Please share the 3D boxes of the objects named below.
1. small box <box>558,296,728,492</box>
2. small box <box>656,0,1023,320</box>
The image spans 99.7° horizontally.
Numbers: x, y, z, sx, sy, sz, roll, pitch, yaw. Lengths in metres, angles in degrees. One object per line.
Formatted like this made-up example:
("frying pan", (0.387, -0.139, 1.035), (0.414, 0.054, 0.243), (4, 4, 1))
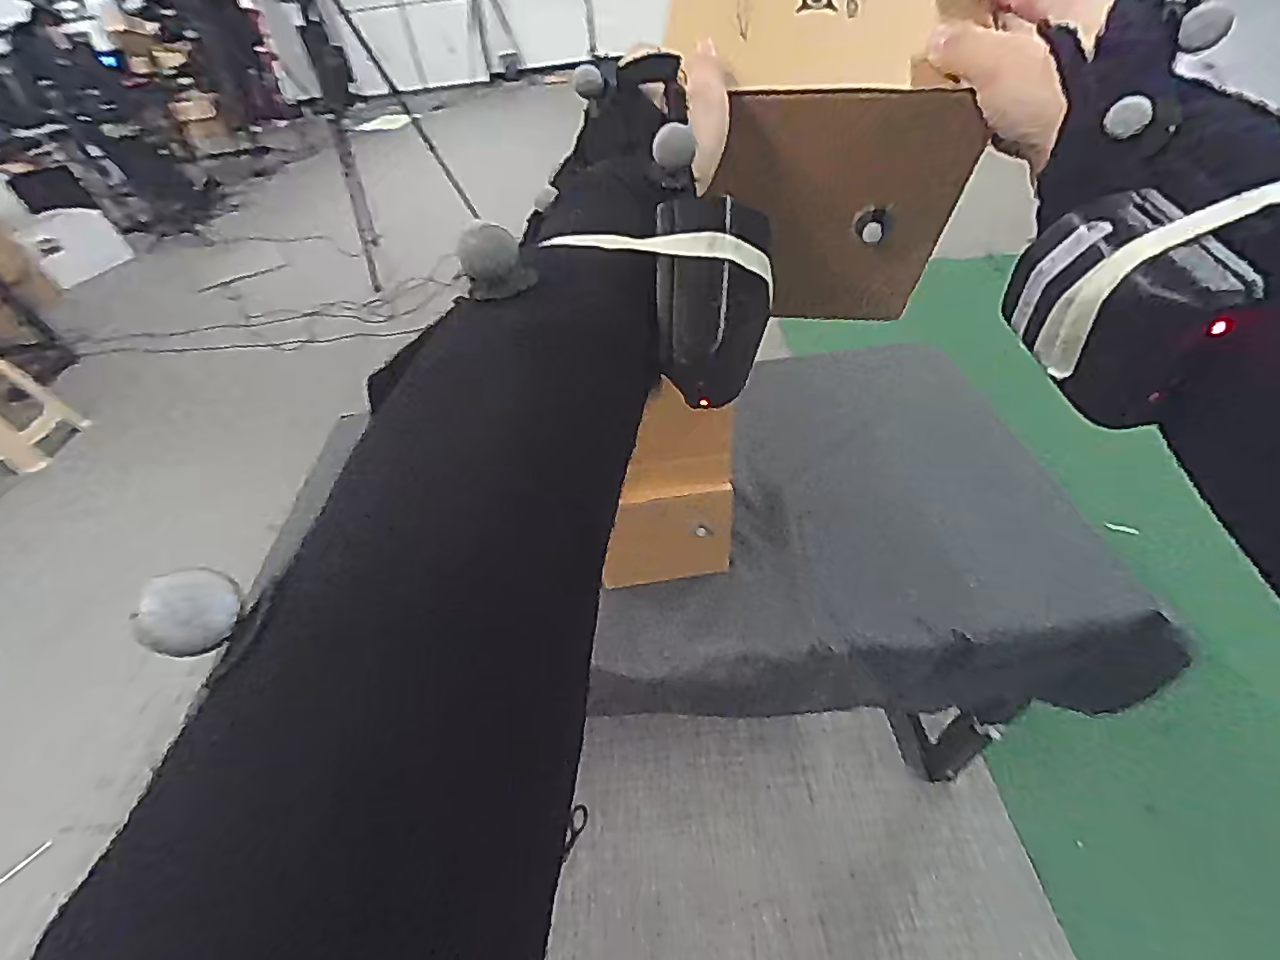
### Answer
("small box", (0.006, -0.100, 0.652), (0.179, 0.176, 0.168), (-6, 44, 0))
("small box", (0.112, -0.226, 0.367), (0.179, 0.176, 0.168), (3, 65, 9))
